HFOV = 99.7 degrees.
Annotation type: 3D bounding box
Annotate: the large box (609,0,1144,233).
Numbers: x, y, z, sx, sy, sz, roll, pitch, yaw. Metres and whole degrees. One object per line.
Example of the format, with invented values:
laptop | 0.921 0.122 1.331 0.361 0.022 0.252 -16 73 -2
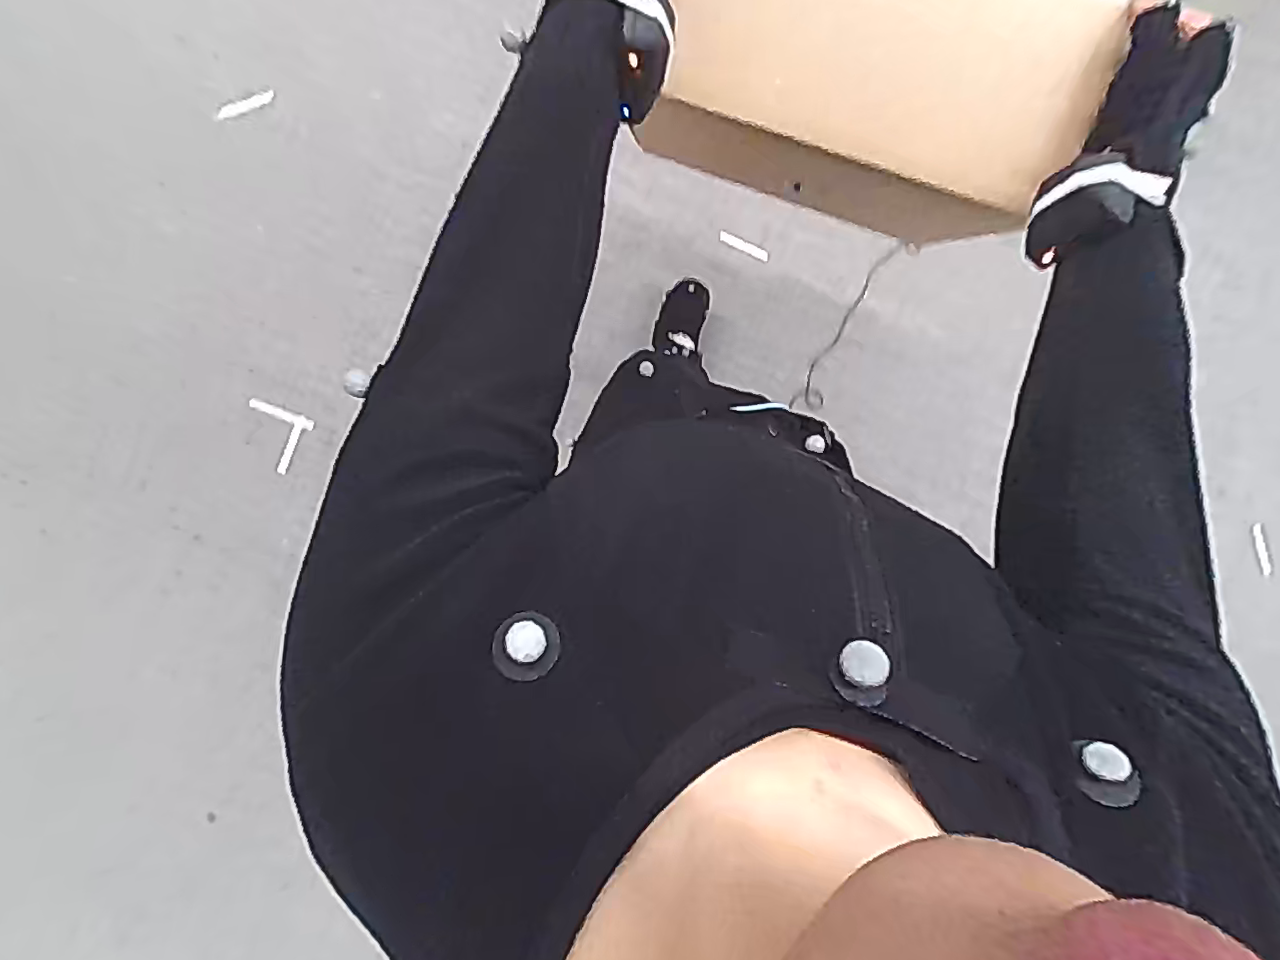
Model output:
large box | 0.220 -0.481 0.559 0.408 0.320 0.320 19 110 -1
